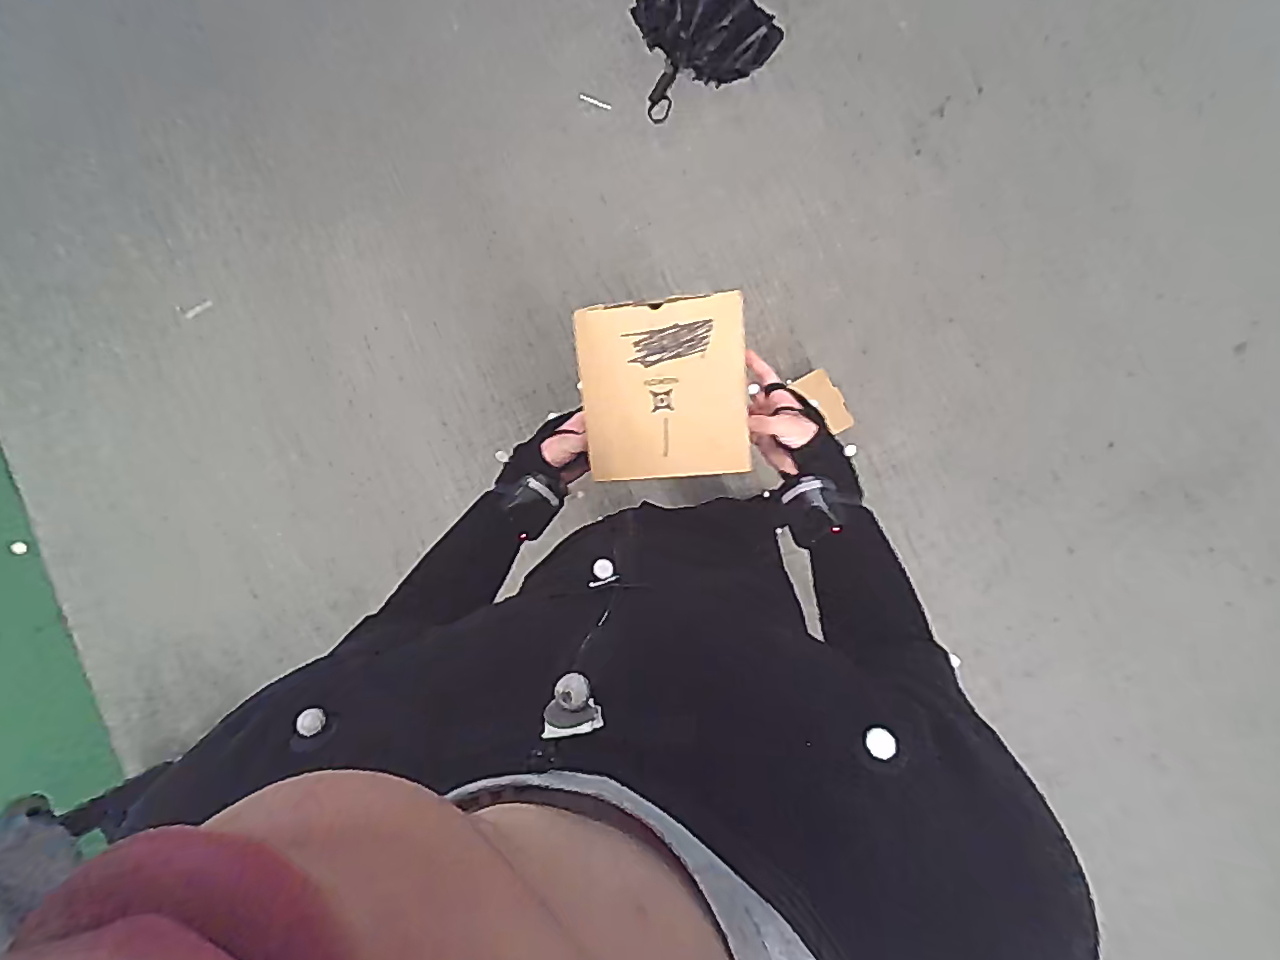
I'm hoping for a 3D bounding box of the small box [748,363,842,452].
[{"bbox_3d":[0.403,-0.186,1.440,0.179,0.176,0.168,-29,87,8],"label":"small box"}]
